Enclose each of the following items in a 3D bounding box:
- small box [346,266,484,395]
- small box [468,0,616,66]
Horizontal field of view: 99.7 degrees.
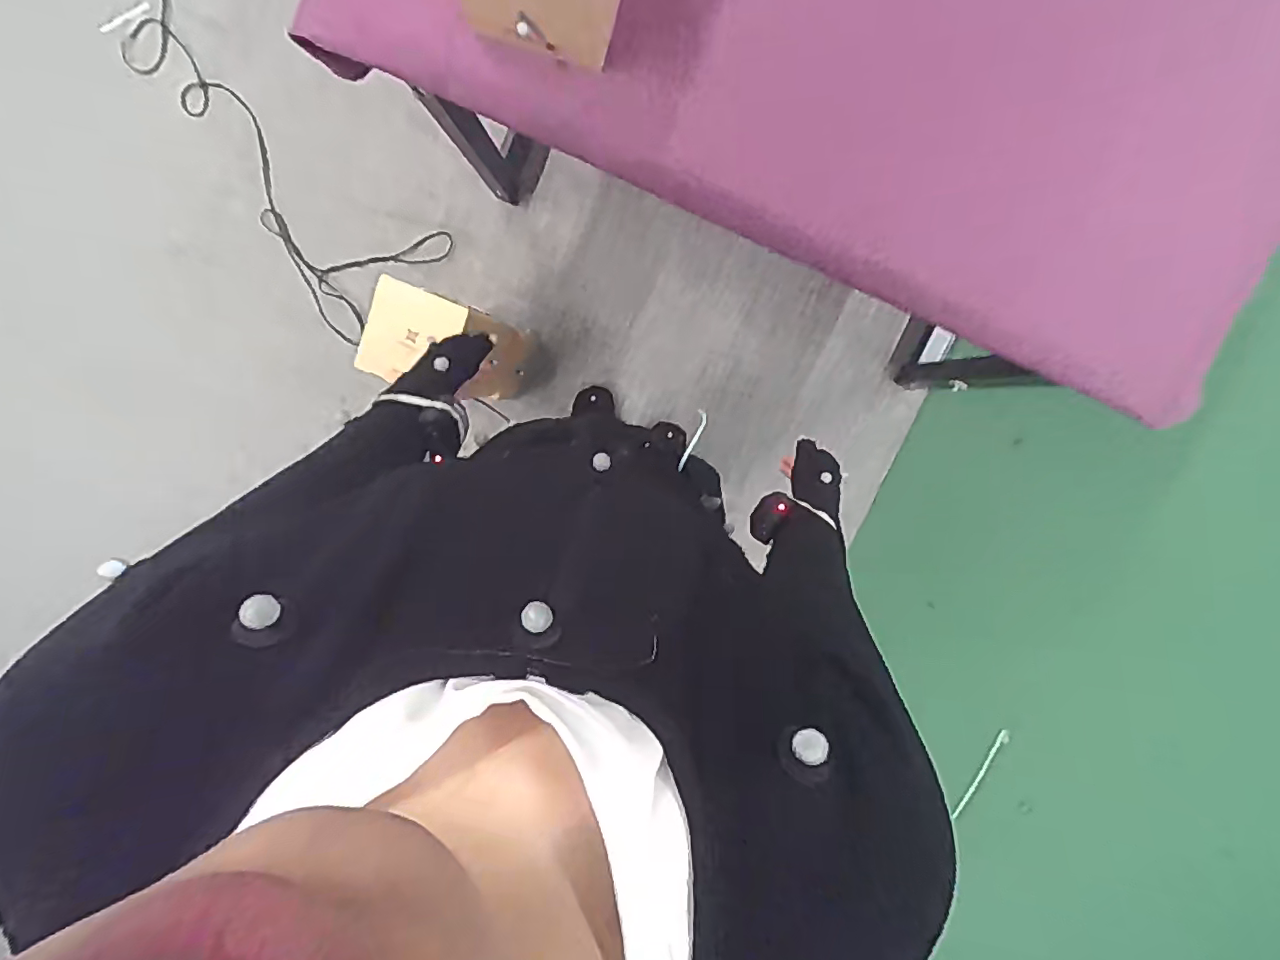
[{"bbox_3d":[-0.414,-0.276,1.026,0.168,0.176,0.179,23,101,-3],"label":"small box"},{"bbox_3d":[-0.103,-0.596,0.565,0.168,0.176,0.179,18,98,-3],"label":"small box"}]
